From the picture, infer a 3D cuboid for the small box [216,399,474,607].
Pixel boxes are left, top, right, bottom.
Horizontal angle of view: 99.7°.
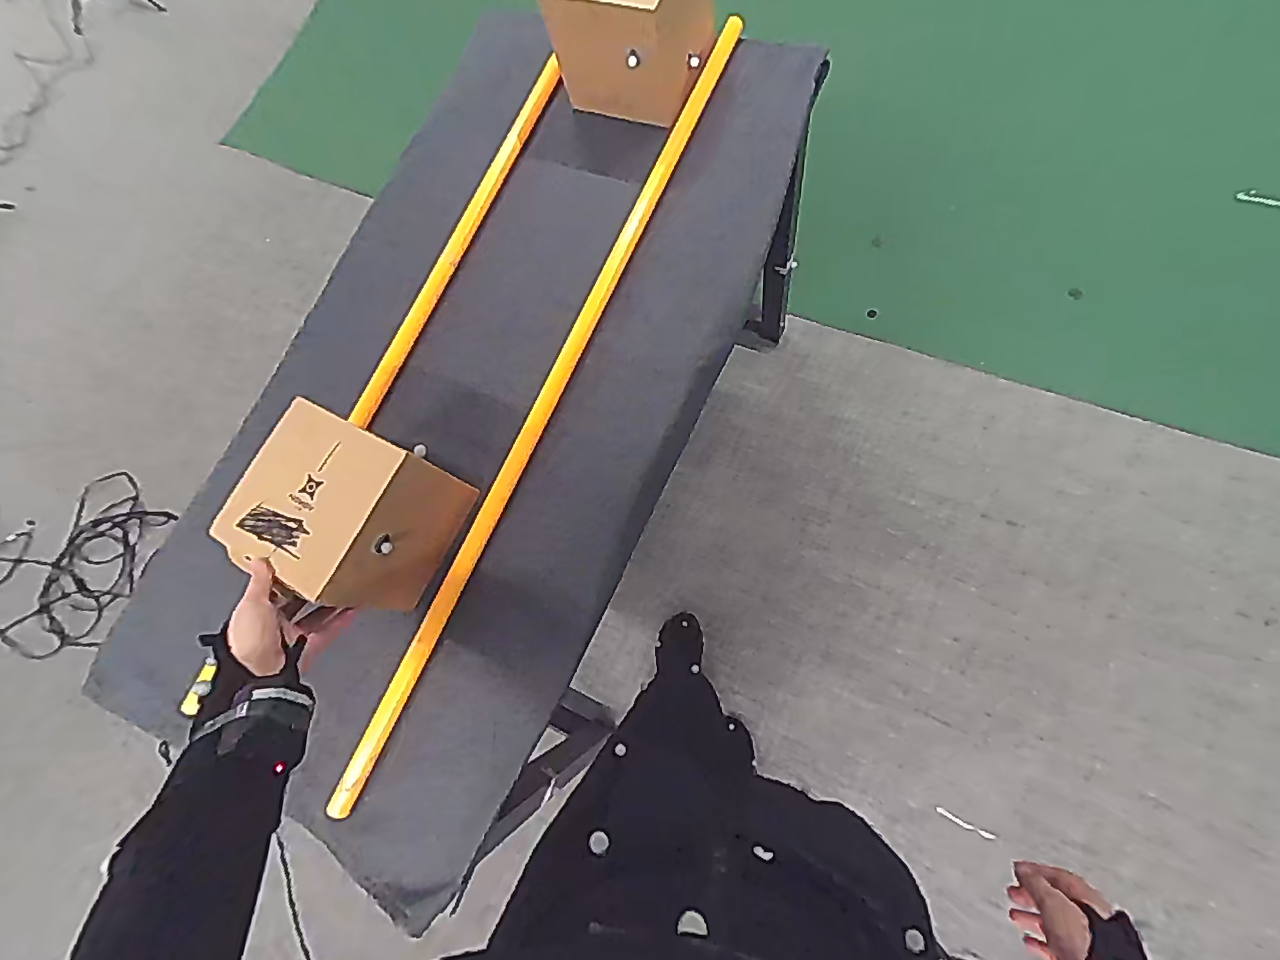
[{"bbox_3d":[-0.329,0.038,0.641,0.168,0.176,0.179,25,80,16],"label":"small box"}]
